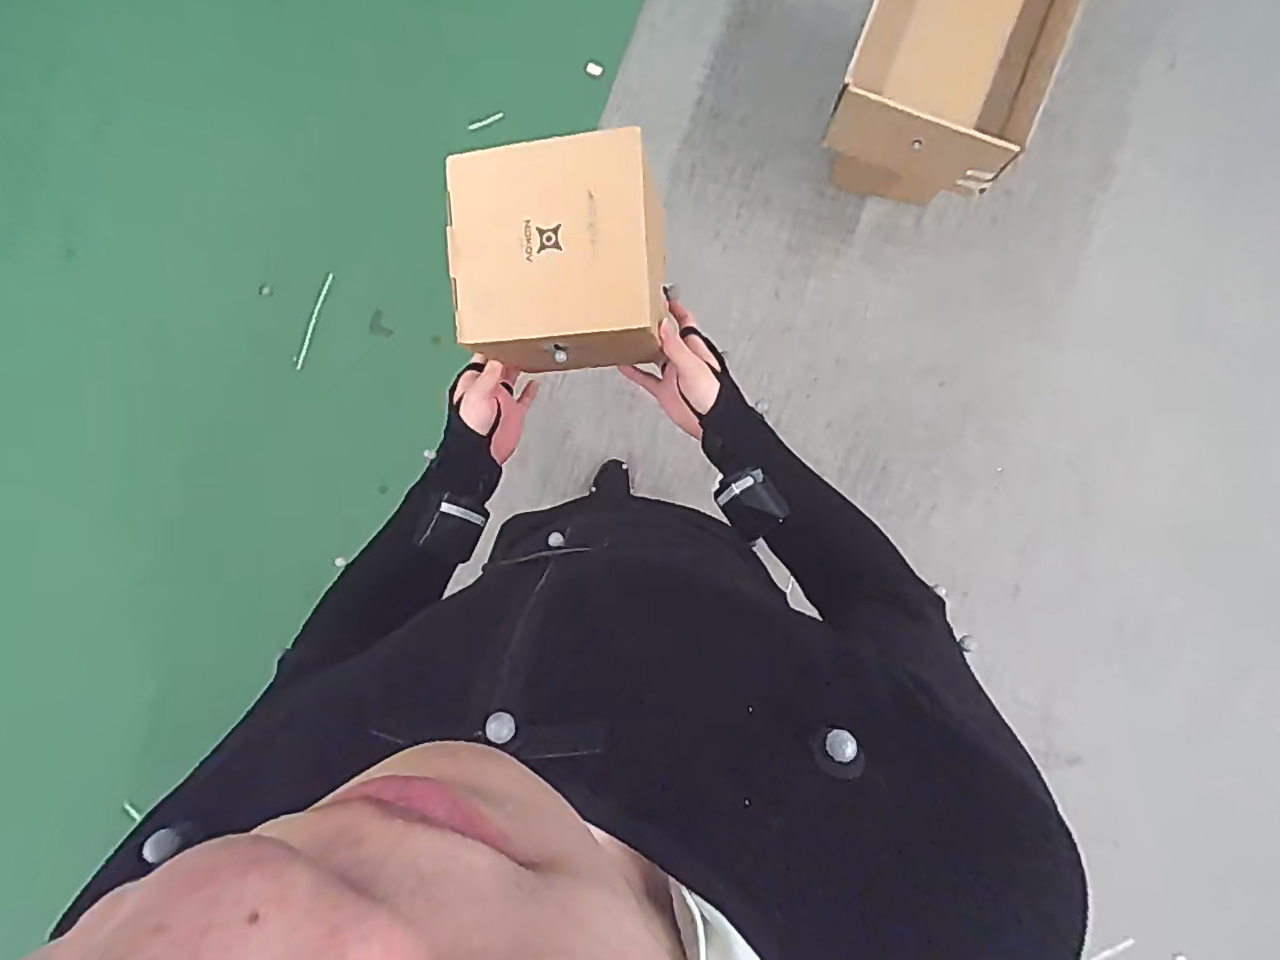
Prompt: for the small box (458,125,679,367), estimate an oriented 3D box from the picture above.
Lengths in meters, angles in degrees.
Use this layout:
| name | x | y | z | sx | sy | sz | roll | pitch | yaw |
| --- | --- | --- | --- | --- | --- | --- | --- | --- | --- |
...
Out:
| name | x | y | z | sx | sy | sz | roll | pitch | yaw |
| --- | --- | --- | --- | --- | --- | --- | --- | --- | --- |
| small box | -0.058 | -0.210 | 0.536 | 0.179 | 0.176 | 0.168 | -2 | 93 | 9 |
